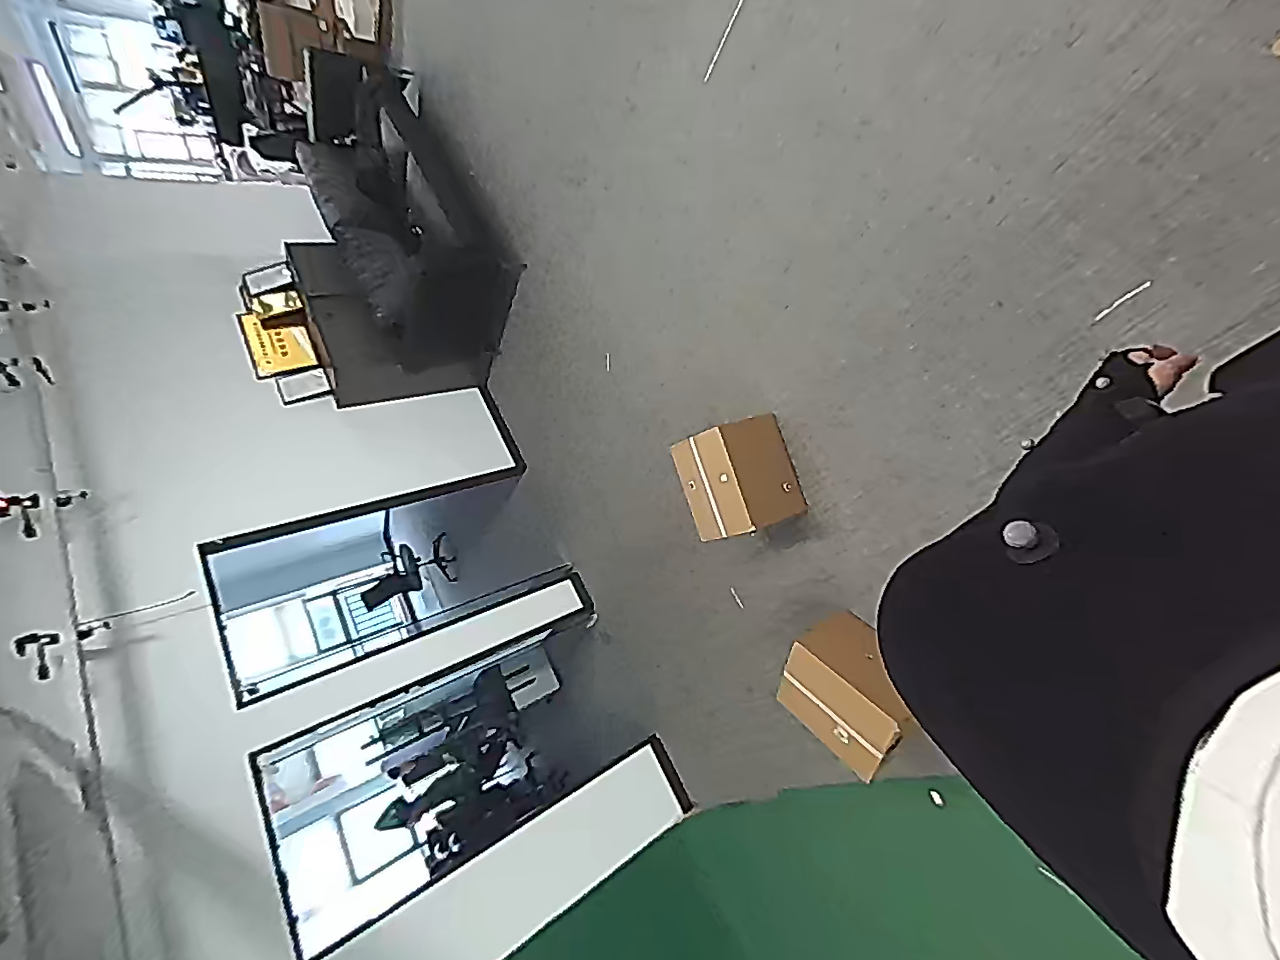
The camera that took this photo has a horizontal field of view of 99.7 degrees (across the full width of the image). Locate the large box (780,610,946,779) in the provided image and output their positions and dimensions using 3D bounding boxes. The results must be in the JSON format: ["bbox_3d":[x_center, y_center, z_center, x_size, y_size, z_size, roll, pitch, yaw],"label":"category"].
[{"bbox_3d":[0.777,0.737,1.922,0.408,0.320,0.320,35,131,41],"label":"large box"}]
